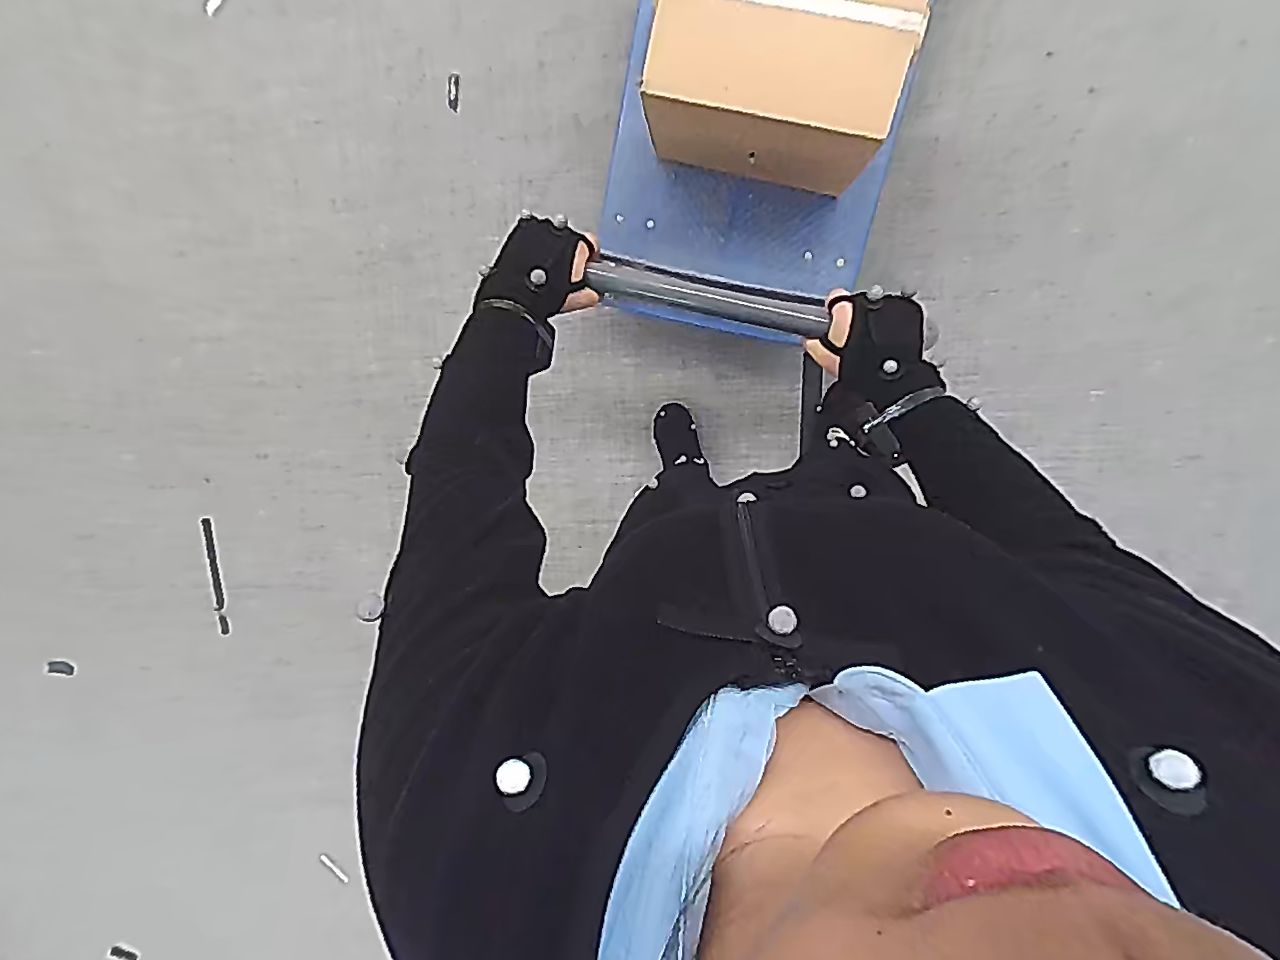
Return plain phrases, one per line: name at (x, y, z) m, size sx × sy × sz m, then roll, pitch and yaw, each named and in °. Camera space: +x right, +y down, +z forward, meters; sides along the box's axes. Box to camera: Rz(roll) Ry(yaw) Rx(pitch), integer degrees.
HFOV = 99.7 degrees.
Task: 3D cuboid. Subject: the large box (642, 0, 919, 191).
large box at (0.248, -0.768, 0.994) m, size 0.408 × 0.320 × 0.320 m, roll 14°, pitch 103°, yaw 5°
